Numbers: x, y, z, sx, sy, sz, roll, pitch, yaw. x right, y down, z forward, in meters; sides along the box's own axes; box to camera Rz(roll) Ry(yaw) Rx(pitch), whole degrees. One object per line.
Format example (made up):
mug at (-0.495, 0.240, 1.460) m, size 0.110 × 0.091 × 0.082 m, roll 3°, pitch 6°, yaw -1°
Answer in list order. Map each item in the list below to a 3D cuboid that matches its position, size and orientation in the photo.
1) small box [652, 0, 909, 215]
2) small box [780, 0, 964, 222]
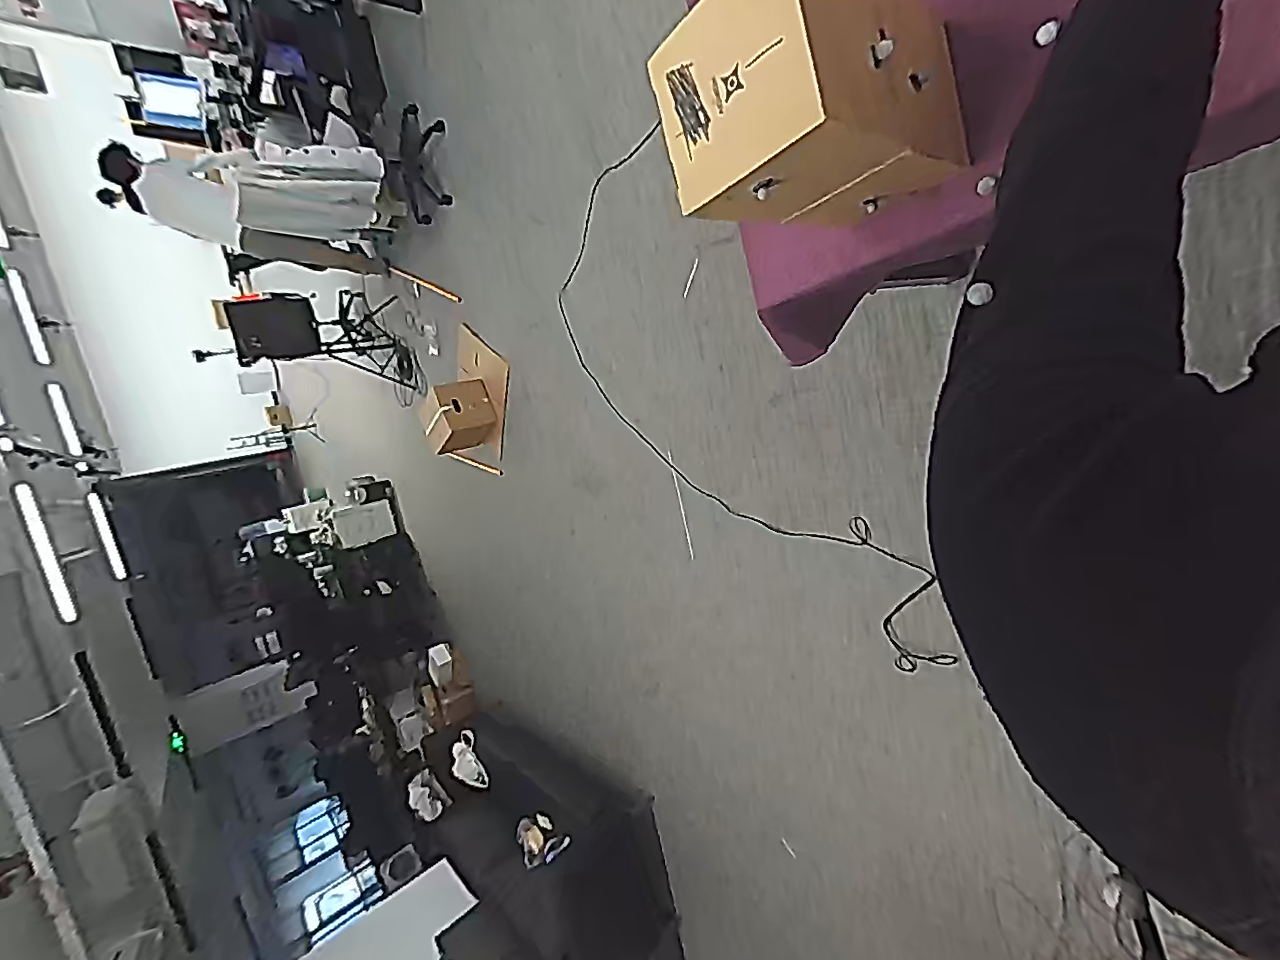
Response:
small box at (0.144, -0.394, 0.559) m, size 0.179 × 0.176 × 0.168 m, roll -8°, pitch 98°, yaw 51°
small box at (0.268, -0.435, 0.659) m, size 0.168 × 0.176 × 0.179 m, roll -7°, pitch 98°, yaw 51°
